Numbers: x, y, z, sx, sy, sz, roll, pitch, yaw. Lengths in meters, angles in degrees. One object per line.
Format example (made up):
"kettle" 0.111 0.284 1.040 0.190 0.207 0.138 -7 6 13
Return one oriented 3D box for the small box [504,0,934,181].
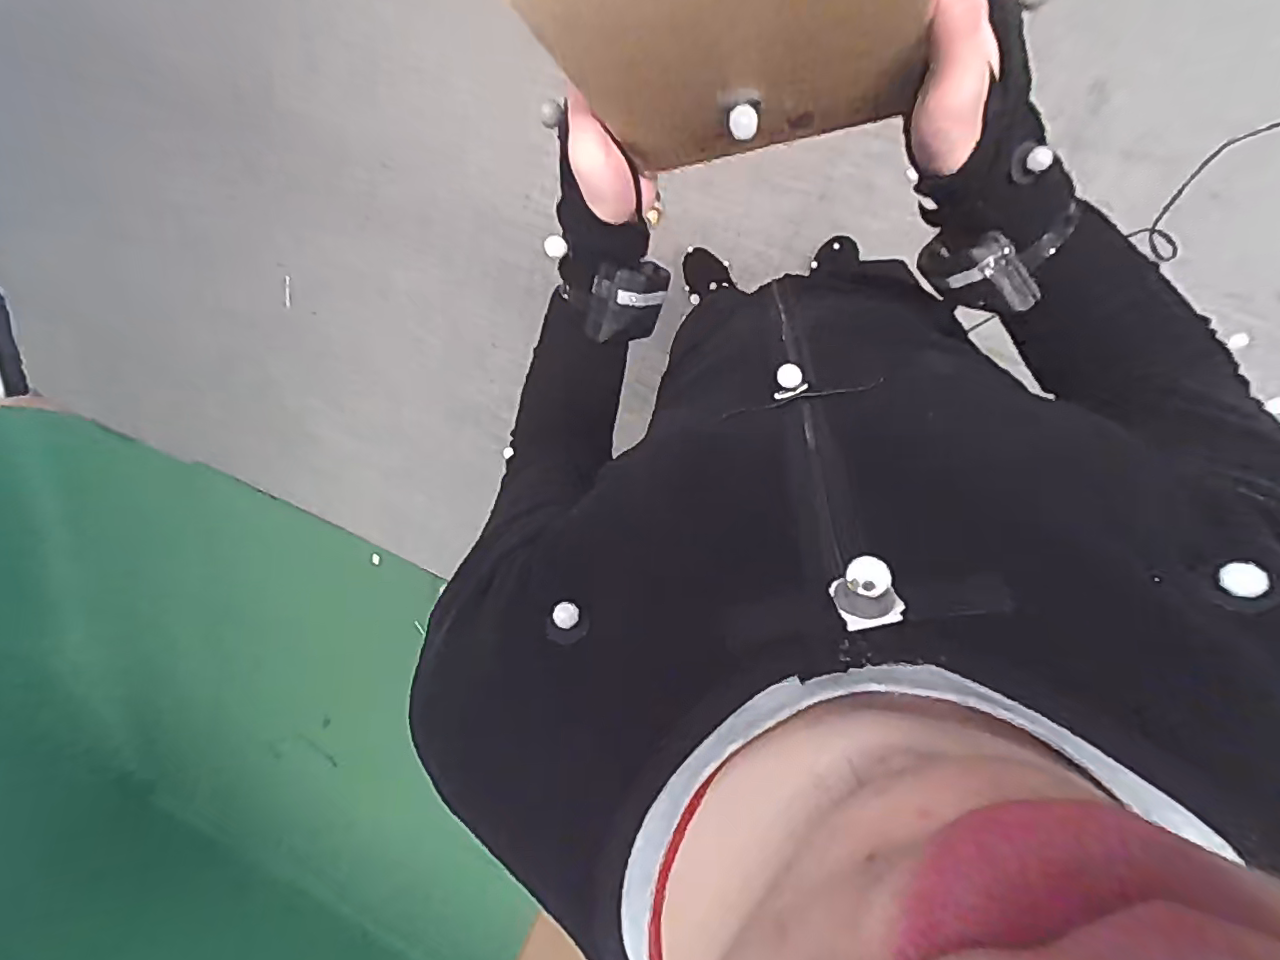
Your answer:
"small box" 0.047 -0.279 0.255 0.168 0.176 0.179 0 95 23
